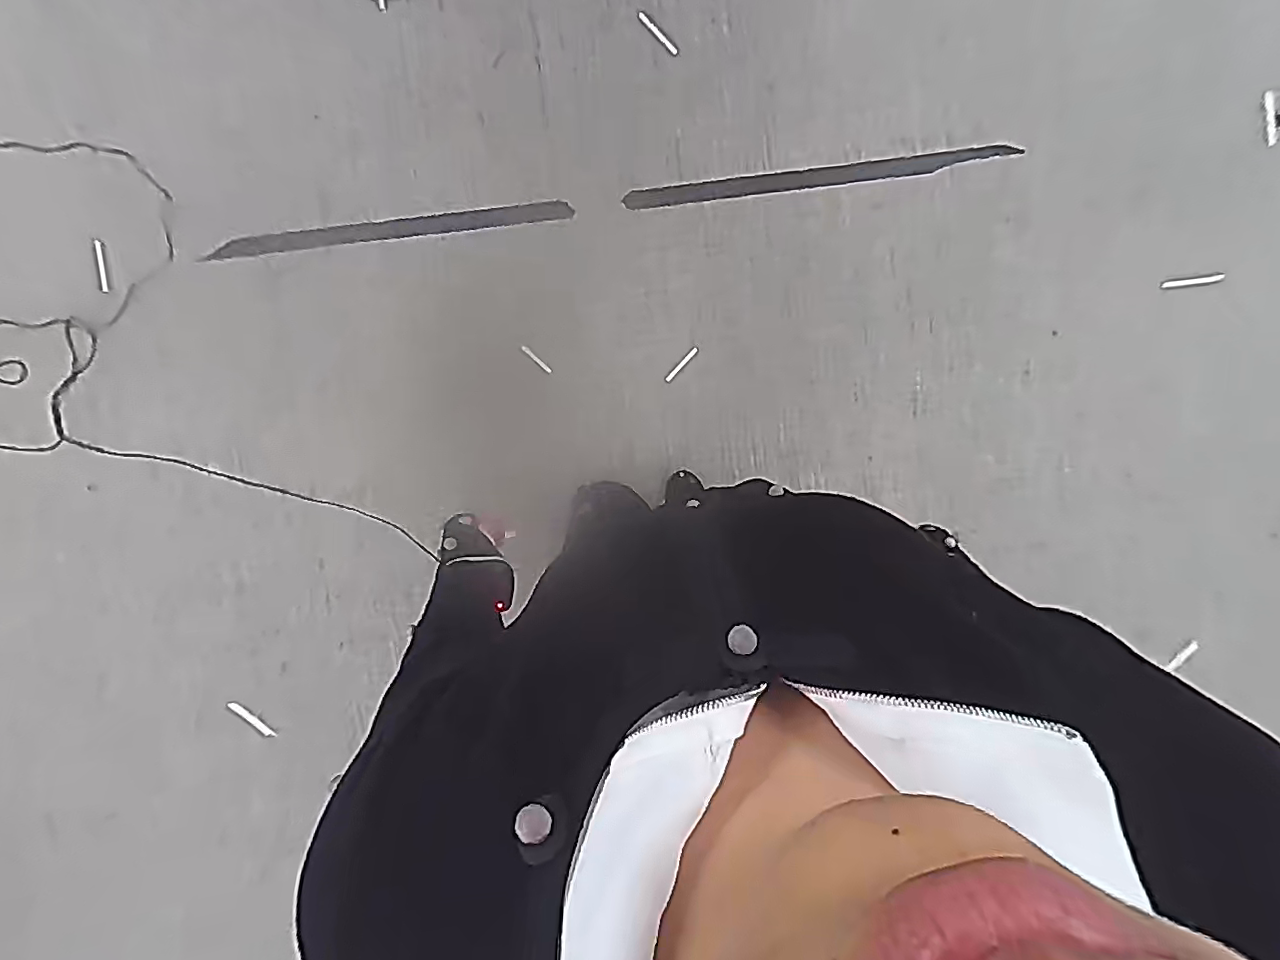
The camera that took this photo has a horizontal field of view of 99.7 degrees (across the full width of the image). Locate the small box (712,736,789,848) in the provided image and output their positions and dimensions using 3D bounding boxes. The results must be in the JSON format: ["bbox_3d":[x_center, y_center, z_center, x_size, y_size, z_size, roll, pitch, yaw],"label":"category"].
[{"bbox_3d":[0.275,0.770,1.343,0.168,0.176,0.179,-8,94,2],"label":"small box"}]
